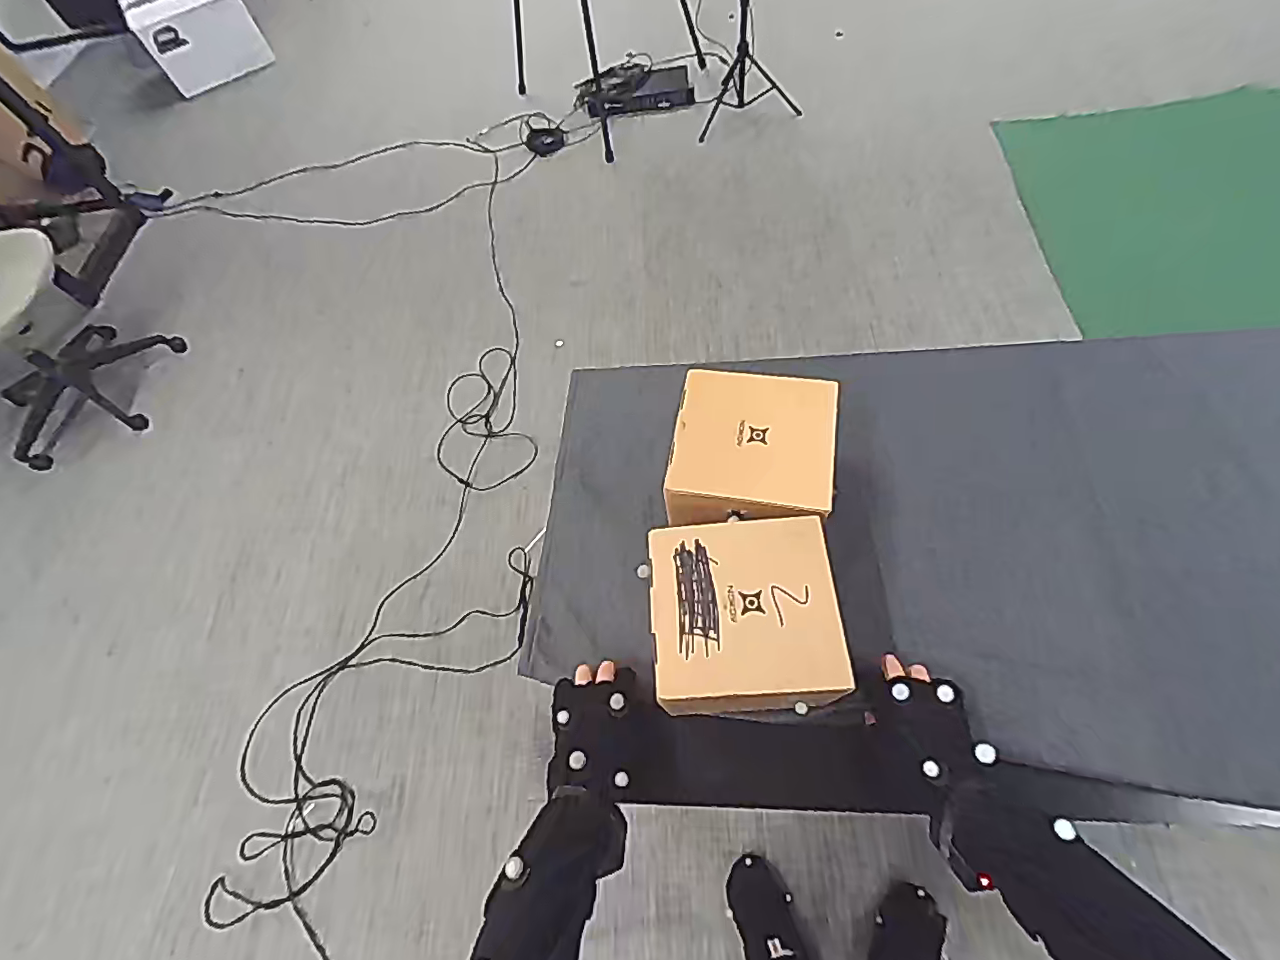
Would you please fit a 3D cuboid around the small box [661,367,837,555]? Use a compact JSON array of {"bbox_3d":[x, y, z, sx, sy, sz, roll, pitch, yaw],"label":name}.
[{"bbox_3d":[0.133,-0.016,0.665,0.179,0.176,0.168,6,64,12],"label":"small box"}]
